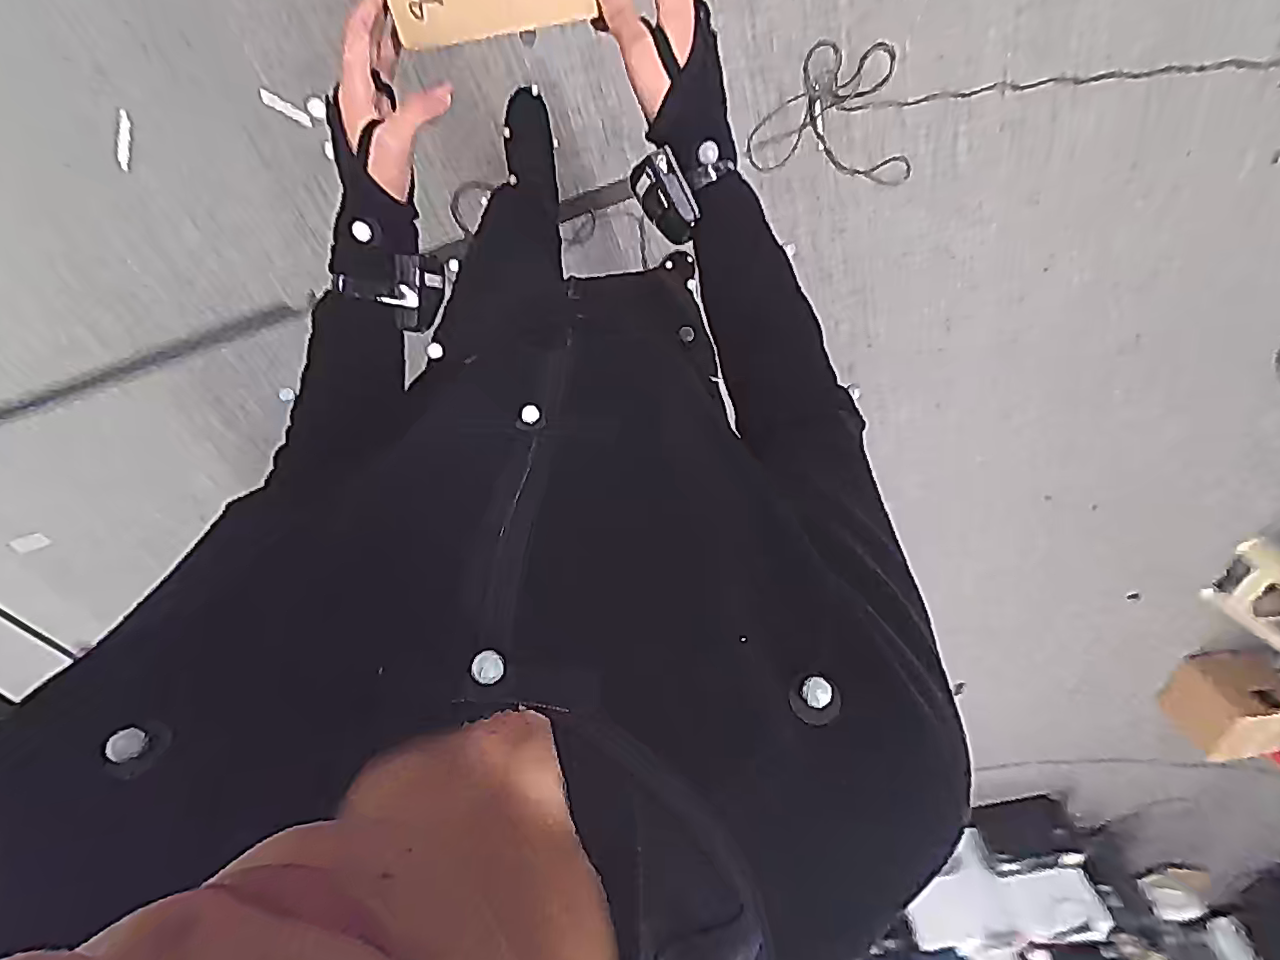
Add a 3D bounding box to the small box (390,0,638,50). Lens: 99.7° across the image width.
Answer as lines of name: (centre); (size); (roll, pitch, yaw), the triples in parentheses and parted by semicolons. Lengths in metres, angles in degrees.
small box: (-0.106, -0.441, 0.399); (0.179, 0.176, 0.168); (-10, 134, -1)
